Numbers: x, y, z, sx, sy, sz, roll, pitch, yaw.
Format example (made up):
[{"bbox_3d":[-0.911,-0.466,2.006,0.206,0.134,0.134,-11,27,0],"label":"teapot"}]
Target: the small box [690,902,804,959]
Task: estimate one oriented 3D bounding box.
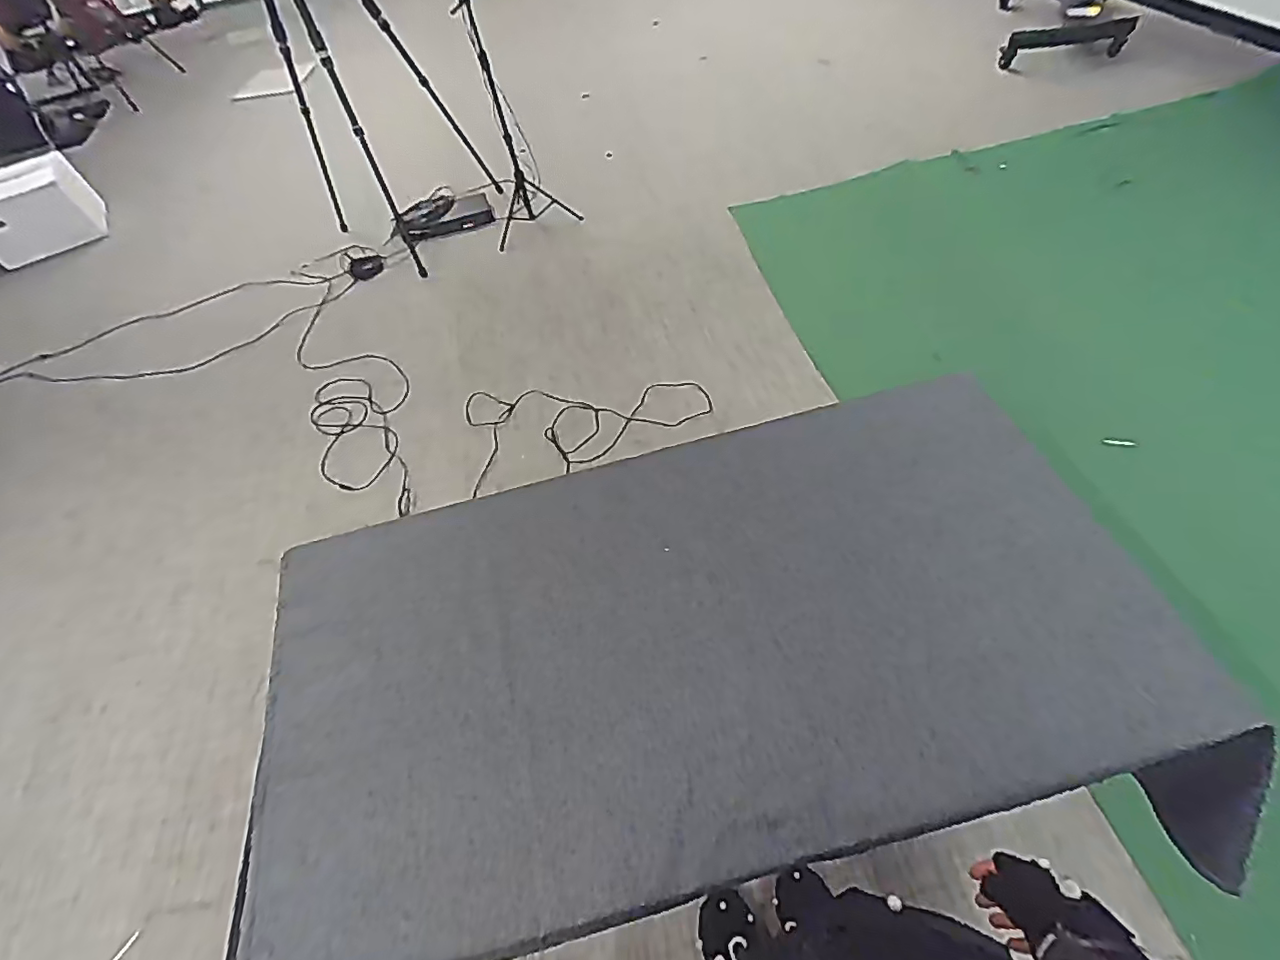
[{"bbox_3d":[0.194,0.948,1.031,0.179,0.176,0.168,7,66,34],"label":"small box"}]
